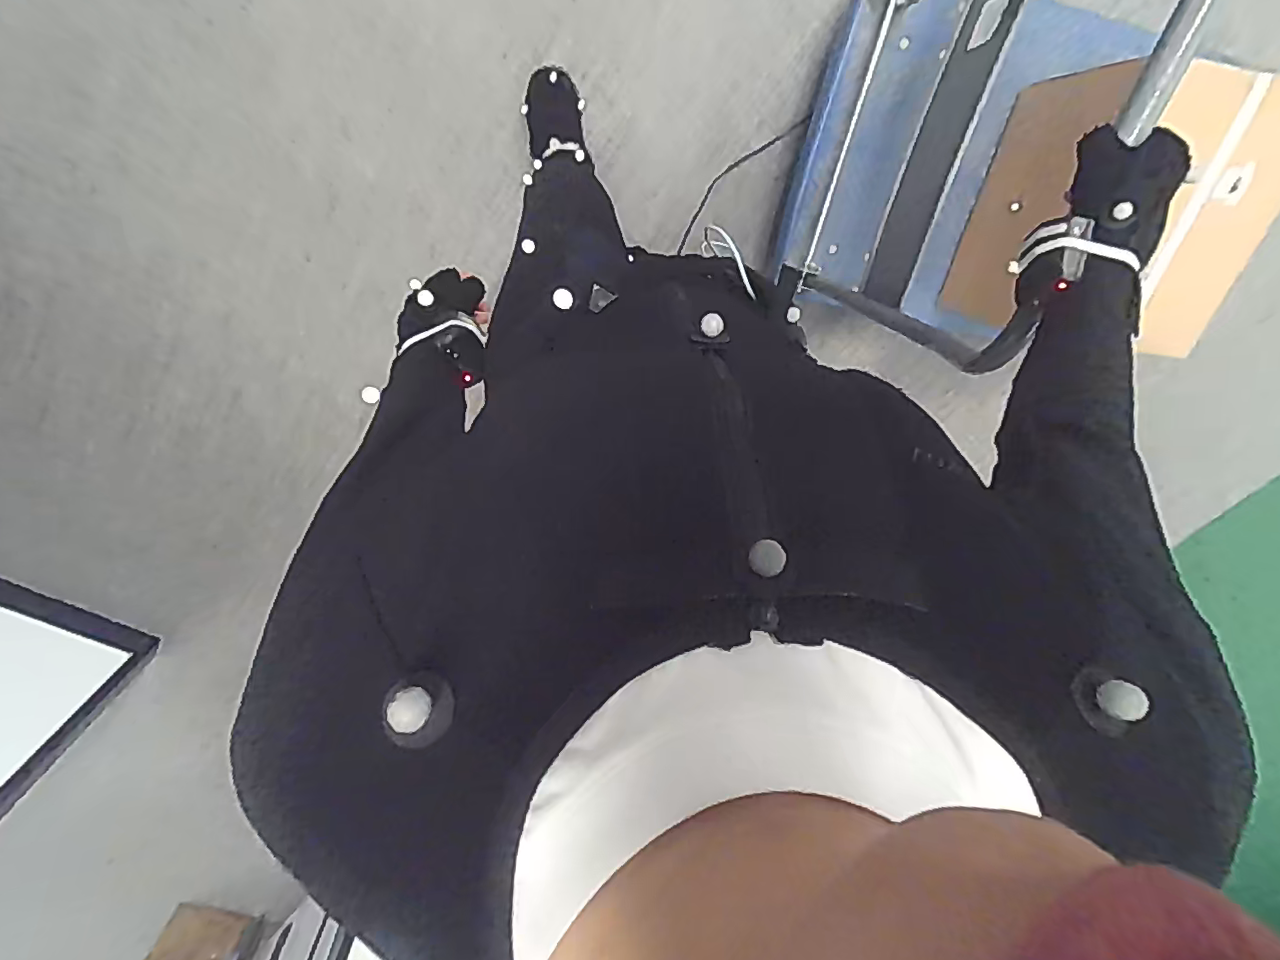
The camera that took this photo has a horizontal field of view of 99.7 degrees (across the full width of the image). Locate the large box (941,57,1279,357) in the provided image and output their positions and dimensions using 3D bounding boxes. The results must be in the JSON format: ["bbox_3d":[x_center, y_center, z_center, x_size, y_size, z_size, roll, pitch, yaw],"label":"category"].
[{"bbox_3d":[0.841,-0.473,0.994,0.320,0.320,0.408,6,117,-7],"label":"large box"}]
